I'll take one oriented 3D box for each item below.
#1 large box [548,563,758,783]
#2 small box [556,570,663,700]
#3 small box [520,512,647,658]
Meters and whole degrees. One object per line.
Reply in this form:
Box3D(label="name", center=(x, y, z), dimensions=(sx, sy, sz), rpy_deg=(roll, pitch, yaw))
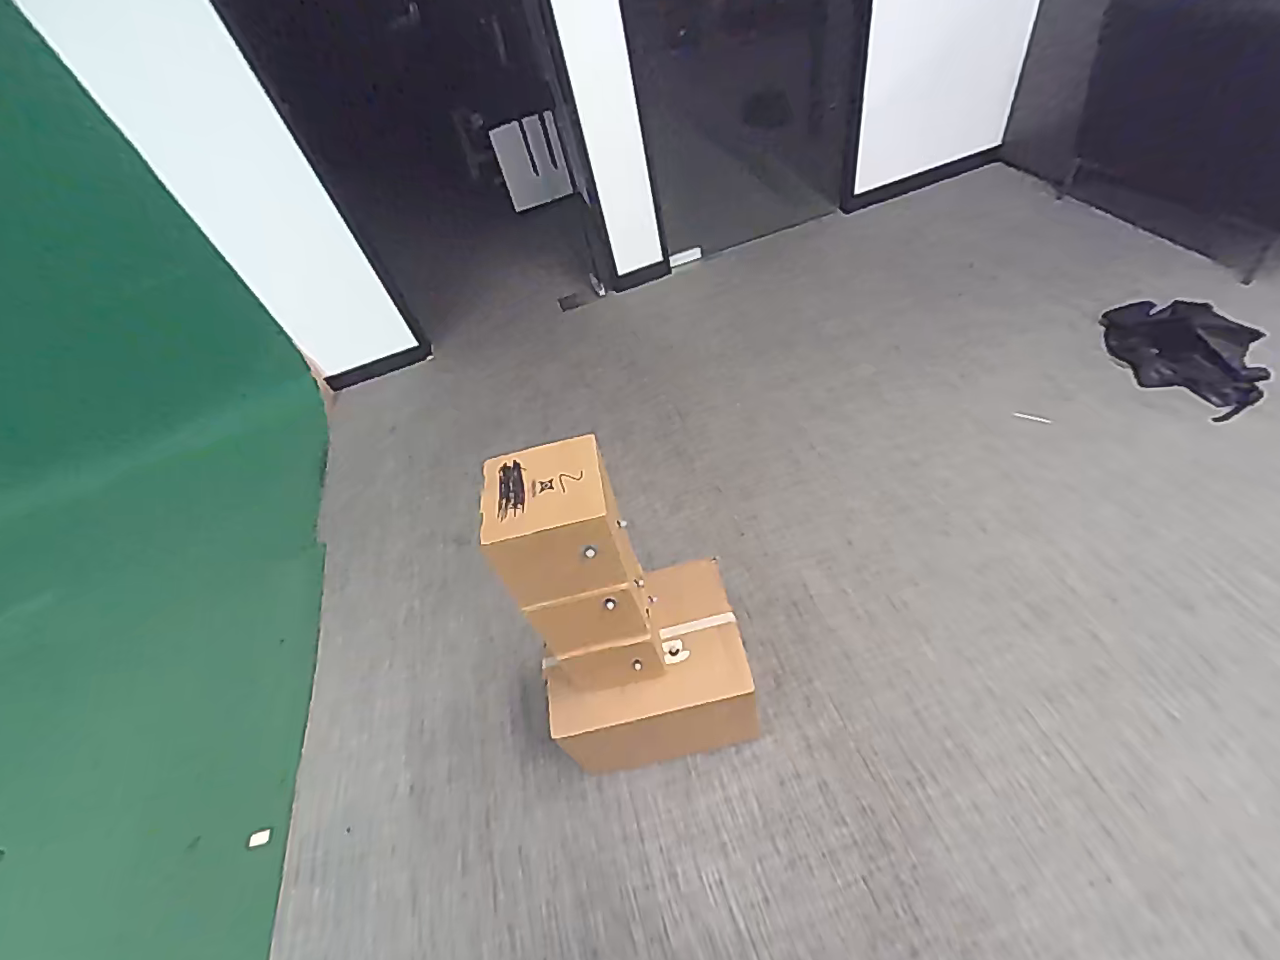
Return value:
Box3D(label="large box", center=(0.027, 0.443, 1.227), dimensions=(0.408, 0.320, 0.320), rpy_deg=(-14, 49, 0))
Box3D(label="small box", center=(-0.057, 0.301, 1.045), dimensions=(0.179, 0.176, 0.168), rpy_deg=(-15, 46, 3))
Box3D(label="small box", center=(-0.097, 0.187, 0.936), dimensions=(0.179, 0.176, 0.168), rpy_deg=(-14, 46, 1))
